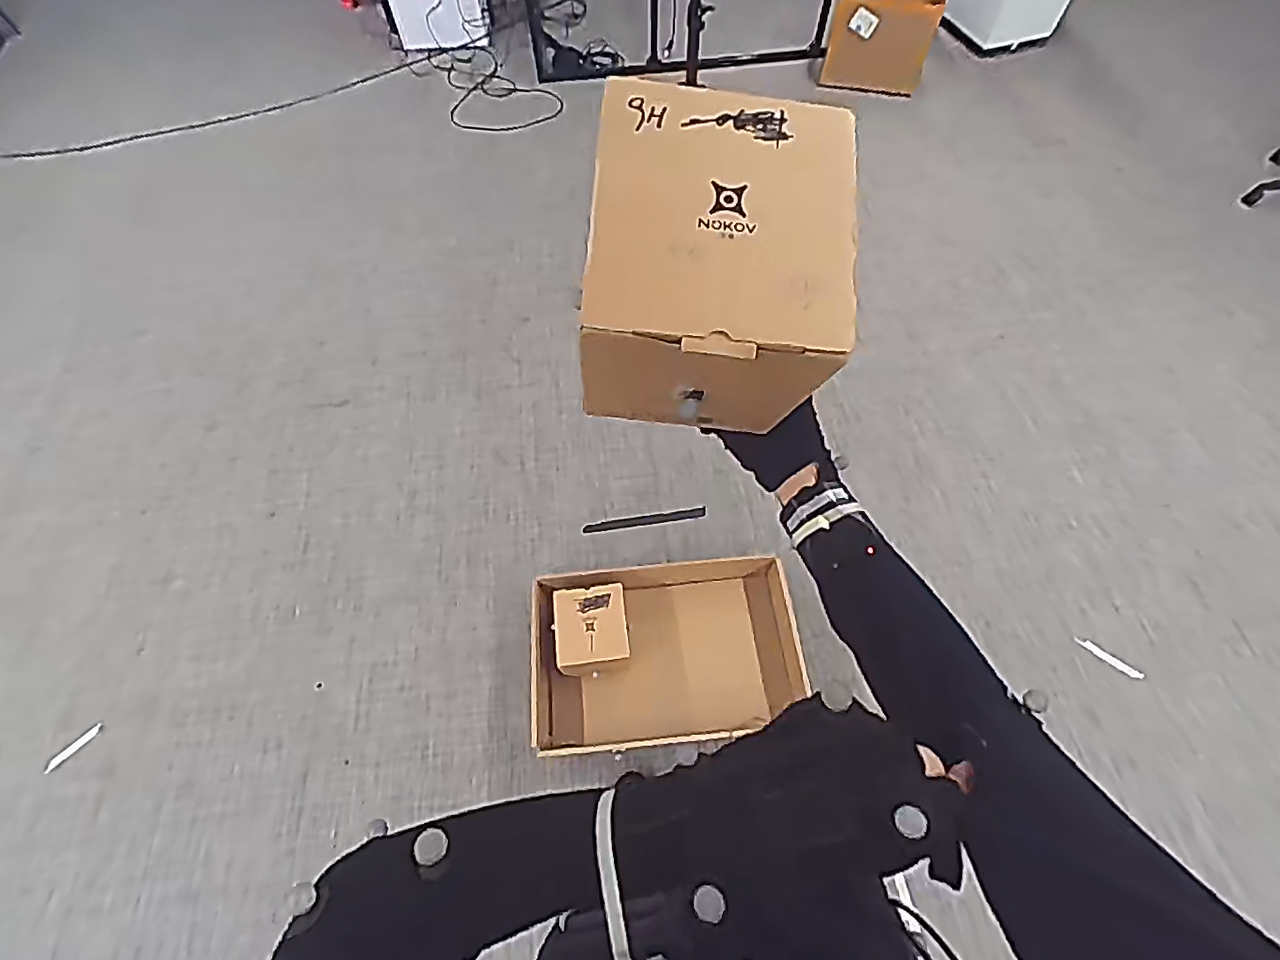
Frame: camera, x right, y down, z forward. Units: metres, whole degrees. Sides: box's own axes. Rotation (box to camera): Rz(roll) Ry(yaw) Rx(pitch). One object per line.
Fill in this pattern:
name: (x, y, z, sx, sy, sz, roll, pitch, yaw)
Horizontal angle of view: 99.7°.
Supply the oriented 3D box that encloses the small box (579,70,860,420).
small box: (0.048, -0.153, 0.409, 0.168, 0.176, 0.179, 5, 80, -4)
